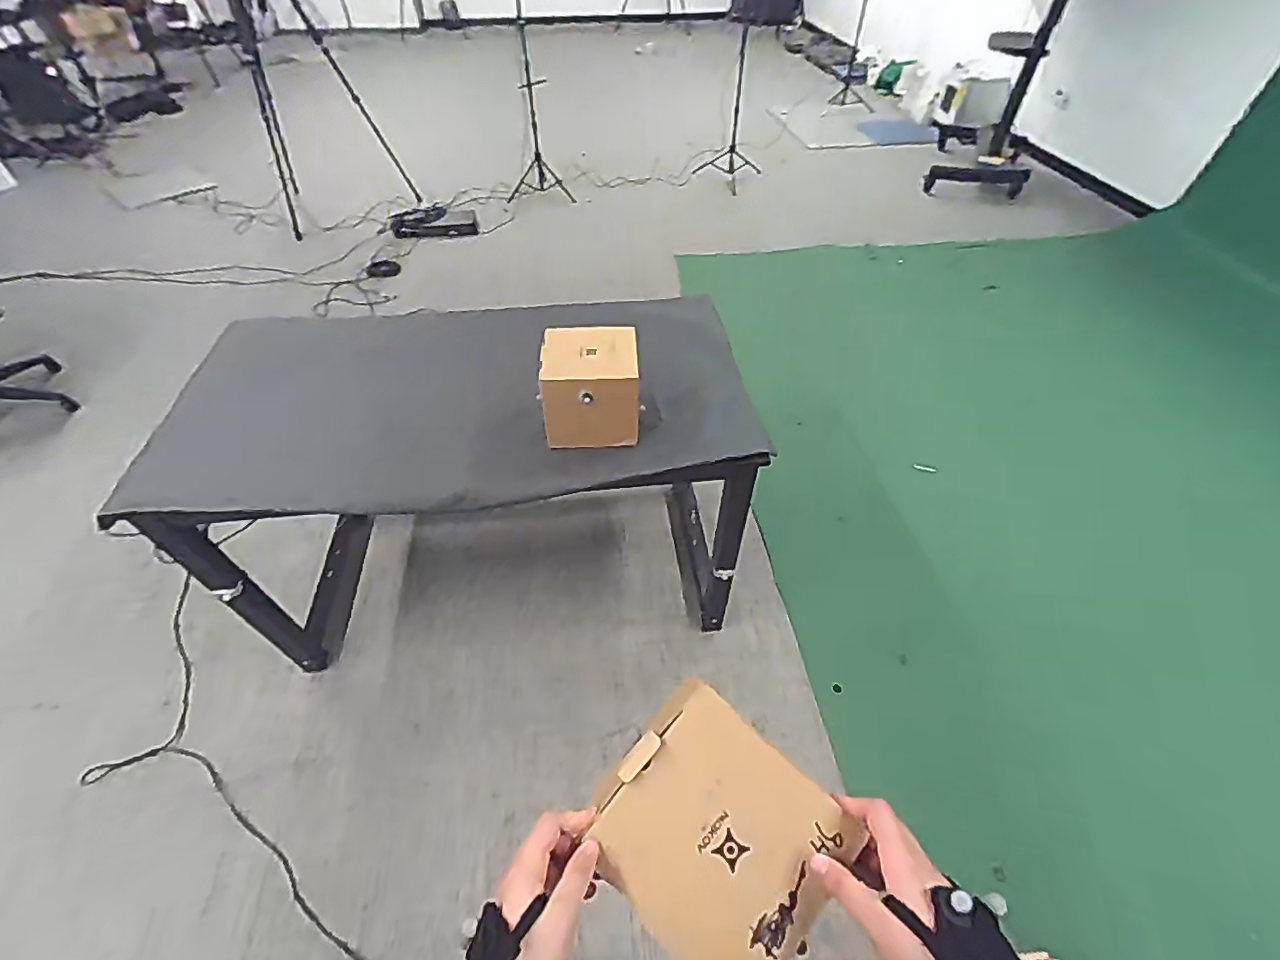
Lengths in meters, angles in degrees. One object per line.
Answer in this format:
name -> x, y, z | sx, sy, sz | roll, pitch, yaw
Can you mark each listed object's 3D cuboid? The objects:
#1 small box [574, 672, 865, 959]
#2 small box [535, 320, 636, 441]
small box -> 0.061, 0.303, 0.503 | 0.179, 0.176, 0.168 | 41, 76, 11
small box -> -0.098, -0.189, 1.041 | 0.179, 0.176, 0.168 | -1, 48, -3
